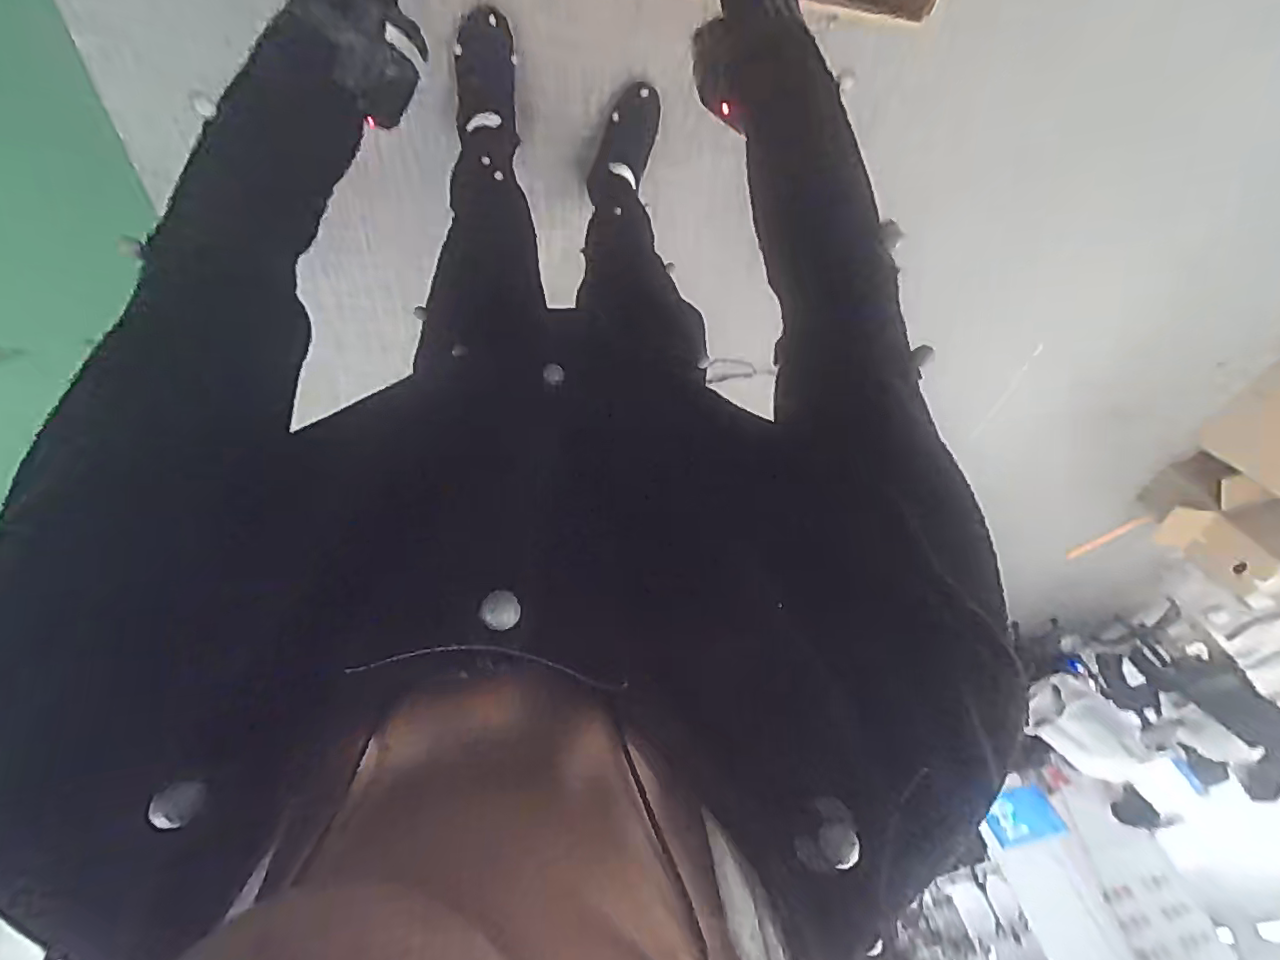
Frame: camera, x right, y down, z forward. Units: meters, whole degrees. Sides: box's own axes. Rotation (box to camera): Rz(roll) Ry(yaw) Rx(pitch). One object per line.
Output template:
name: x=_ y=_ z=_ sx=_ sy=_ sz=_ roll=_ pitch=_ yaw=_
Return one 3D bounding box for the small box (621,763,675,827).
small box: x=0.023 y=1.211 z=2.087 sx=0.168 sy=0.176 sz=0.179 roll=-4 pitch=137 yaw=-13
